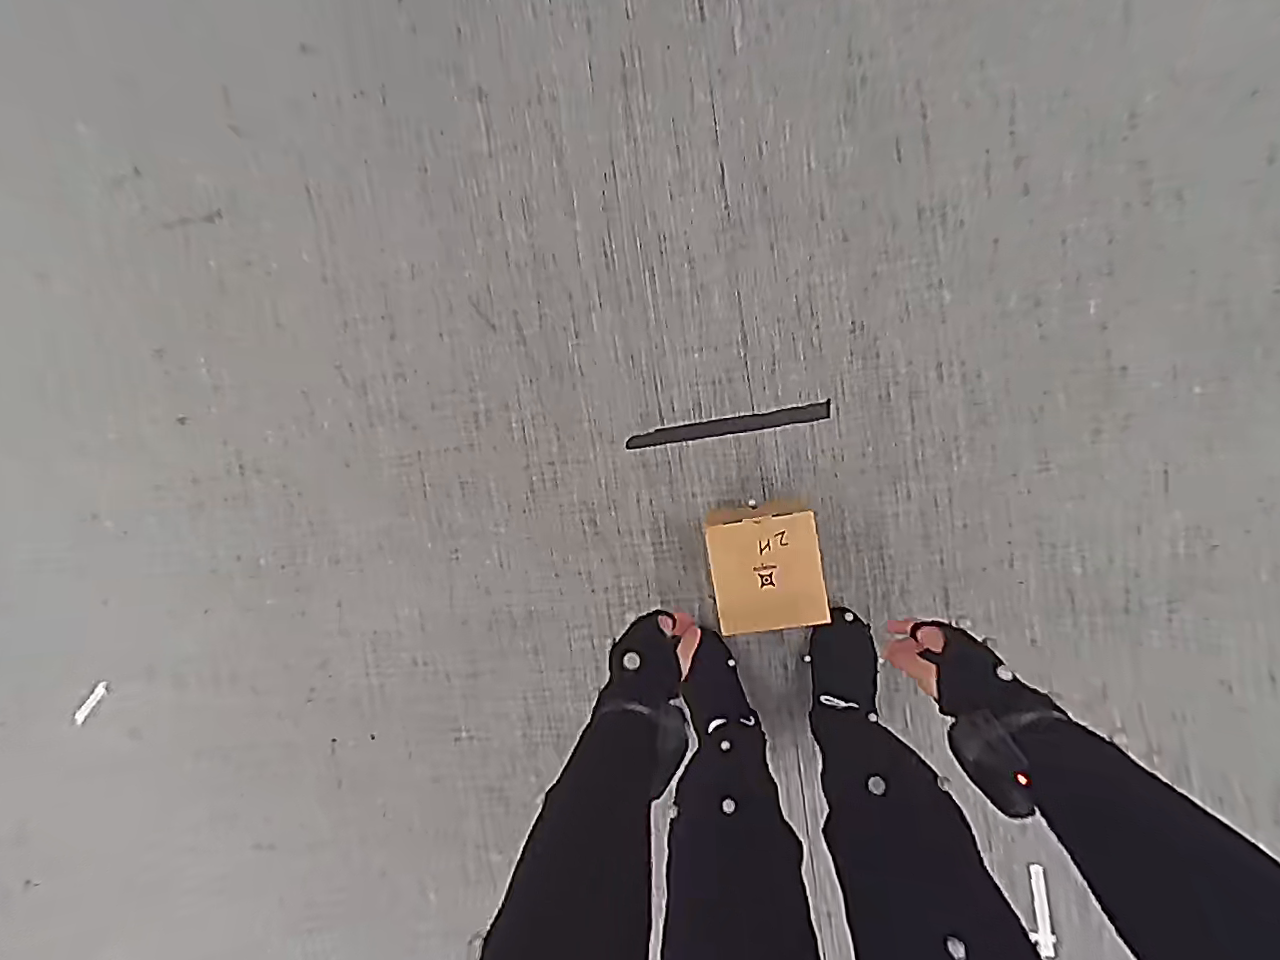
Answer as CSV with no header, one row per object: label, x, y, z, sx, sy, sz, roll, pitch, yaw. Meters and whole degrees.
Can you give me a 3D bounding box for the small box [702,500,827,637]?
small box,0.199,0.138,0.889,0.168,0.176,0.179,-9,93,8
